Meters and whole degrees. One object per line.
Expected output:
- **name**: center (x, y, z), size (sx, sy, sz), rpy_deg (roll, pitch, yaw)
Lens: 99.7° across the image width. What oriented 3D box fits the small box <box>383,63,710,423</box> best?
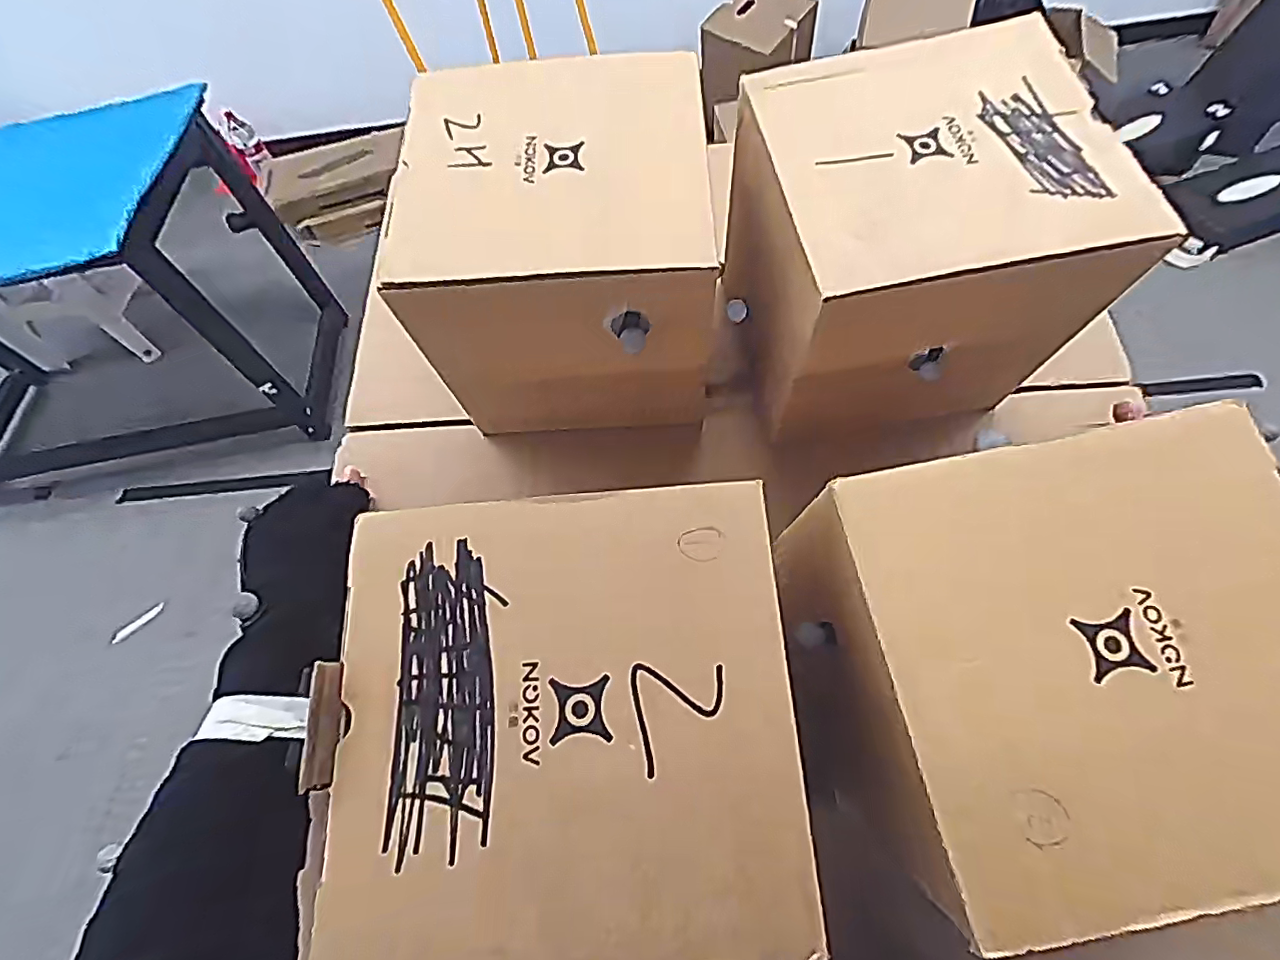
- **small box**: center (-0.047, -0.151, 0.386), size (0.179, 0.176, 0.168), rpy_deg (-2, 68, 3)
